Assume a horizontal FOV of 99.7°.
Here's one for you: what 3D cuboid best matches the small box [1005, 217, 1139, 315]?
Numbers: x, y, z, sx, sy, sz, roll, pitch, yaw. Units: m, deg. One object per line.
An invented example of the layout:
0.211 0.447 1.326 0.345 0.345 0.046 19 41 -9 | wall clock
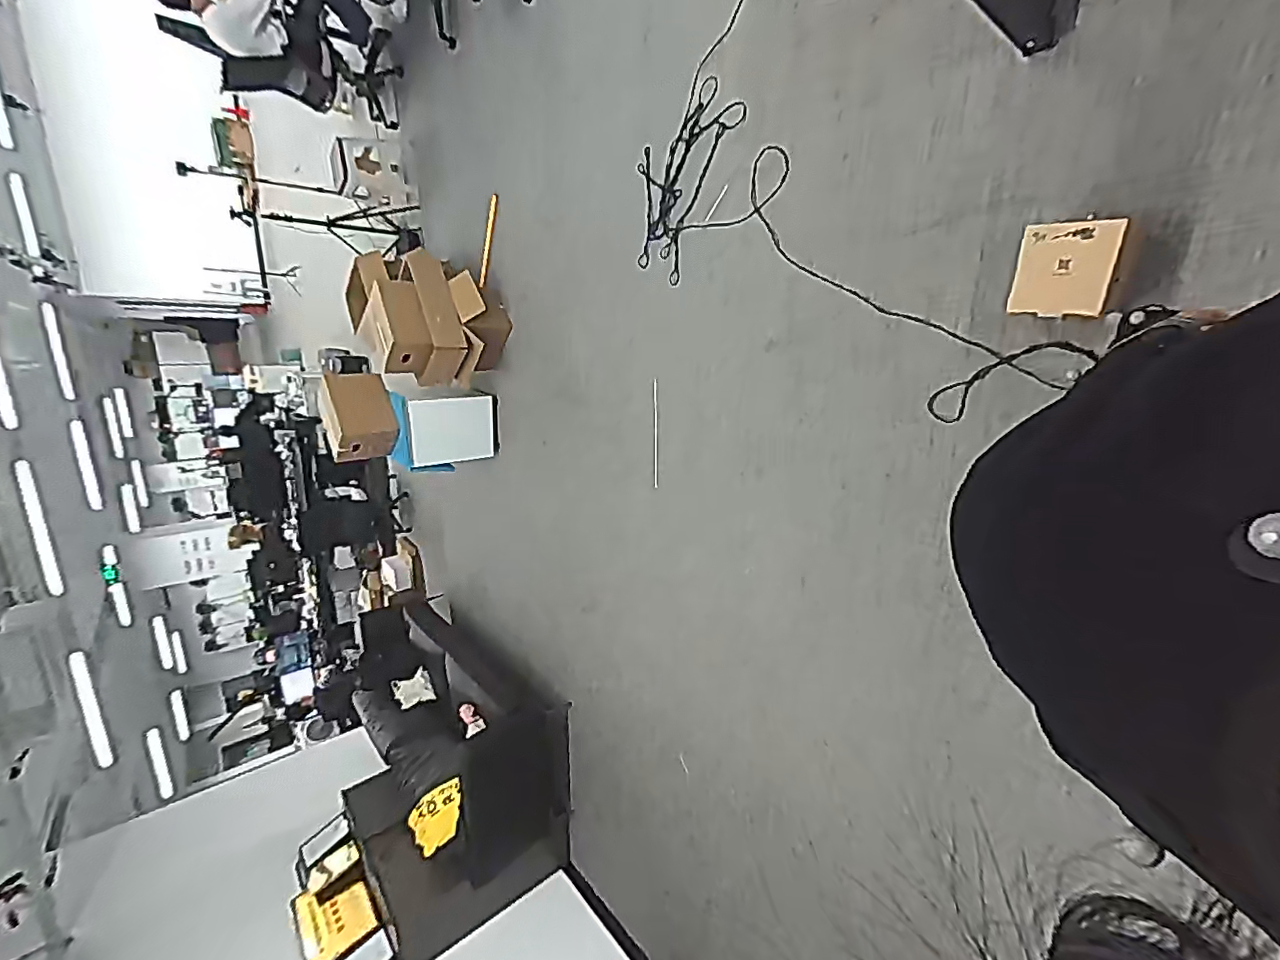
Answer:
0.903 -0.440 1.128 0.168 0.176 0.179 22 116 46 | small box
